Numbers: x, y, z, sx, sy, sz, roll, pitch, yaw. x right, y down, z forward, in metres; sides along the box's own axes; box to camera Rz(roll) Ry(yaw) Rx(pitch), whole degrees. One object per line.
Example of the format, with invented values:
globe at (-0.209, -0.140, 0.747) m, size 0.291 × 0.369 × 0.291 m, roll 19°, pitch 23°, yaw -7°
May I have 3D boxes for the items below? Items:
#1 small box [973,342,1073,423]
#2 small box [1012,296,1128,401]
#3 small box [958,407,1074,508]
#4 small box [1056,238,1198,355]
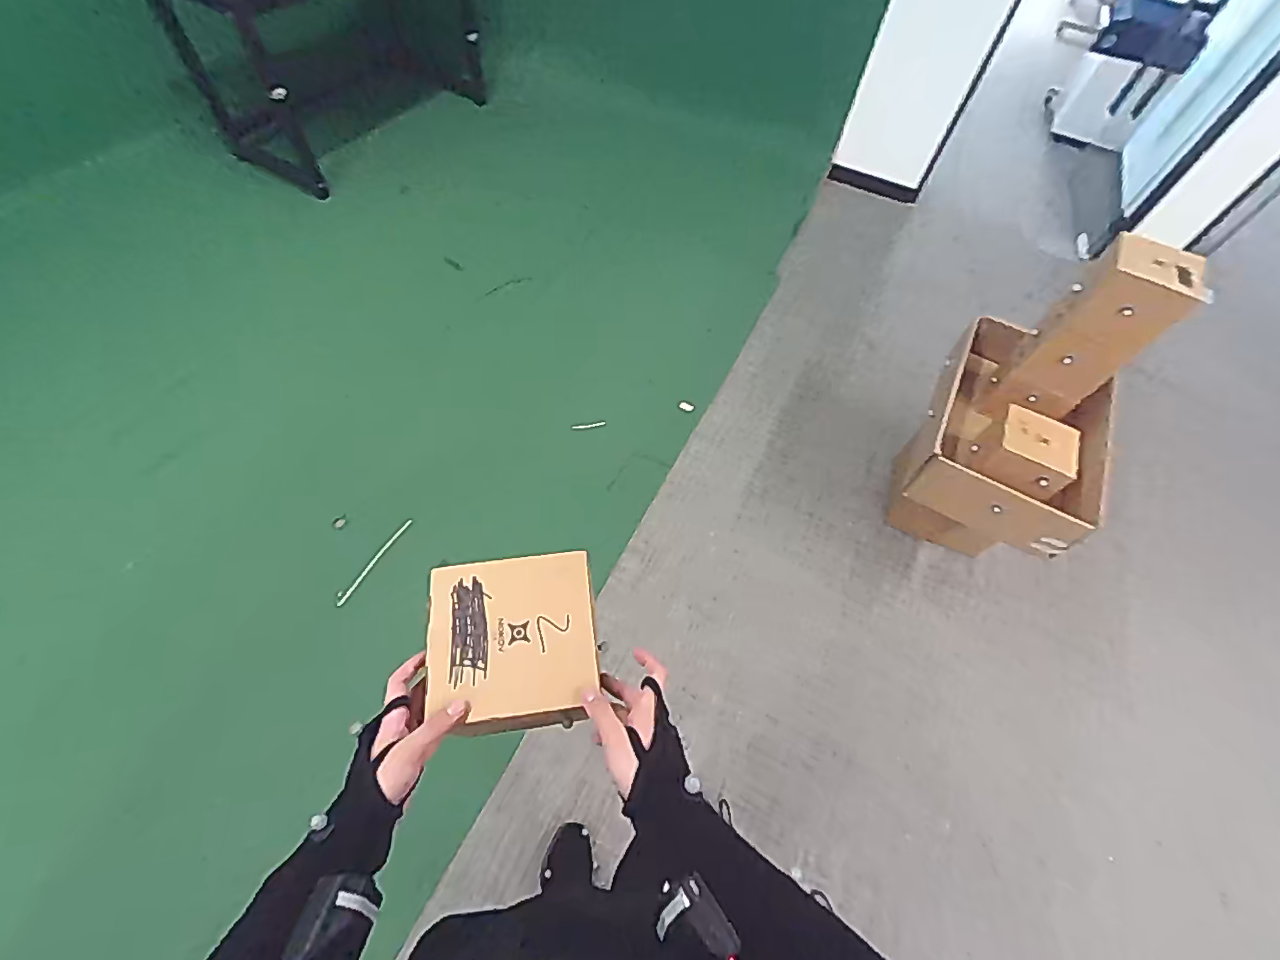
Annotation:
small box at (1.091, -0.250, 1.536) m, size 0.179 × 0.176 × 0.168 m, roll 31°, pitch 61°, yaw 11°
small box at (1.108, -0.335, 1.397) m, size 0.179 × 0.176 × 0.168 m, roll 29°, pitch 62°, yaw 12°
small box at (0.966, -0.050, 1.396) m, size 0.179 × 0.176 × 0.168 m, roll 27°, pitch 59°, yaw 10°
small box at (1.124, -0.418, 1.255) m, size 0.179 × 0.176 × 0.168 m, roll 29°, pitch 61°, yaw 11°
